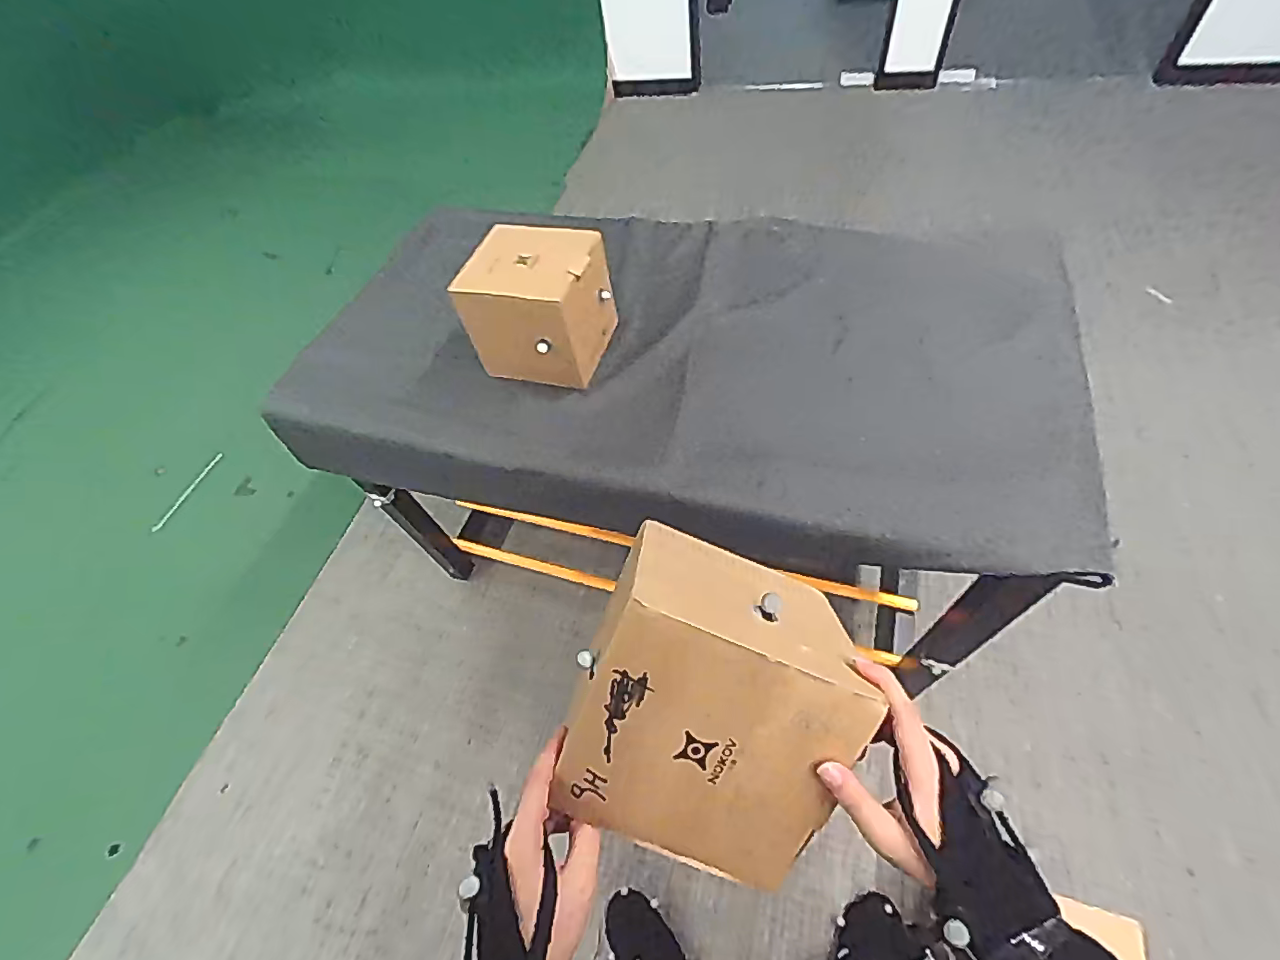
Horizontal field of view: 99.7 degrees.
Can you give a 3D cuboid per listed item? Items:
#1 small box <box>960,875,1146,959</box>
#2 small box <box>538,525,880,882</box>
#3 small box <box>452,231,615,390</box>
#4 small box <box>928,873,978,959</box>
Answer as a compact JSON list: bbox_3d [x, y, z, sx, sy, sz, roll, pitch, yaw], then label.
[{"bbox_3d":[0.571,0.686,0.766,0.179,0.176,0.168,10,58,14],"label":"small box"},{"bbox_3d":[0.044,0.154,0.427,0.179,0.176,0.168,22,104,-2],"label":"small box"},{"bbox_3d":[-0.150,-0.259,0.841,0.179,0.176,0.168,10,56,15],"label":"small box"},{"bbox_3d":[0.605,0.777,0.898,0.179,0.176,0.168,12,58,16],"label":"small box"}]
